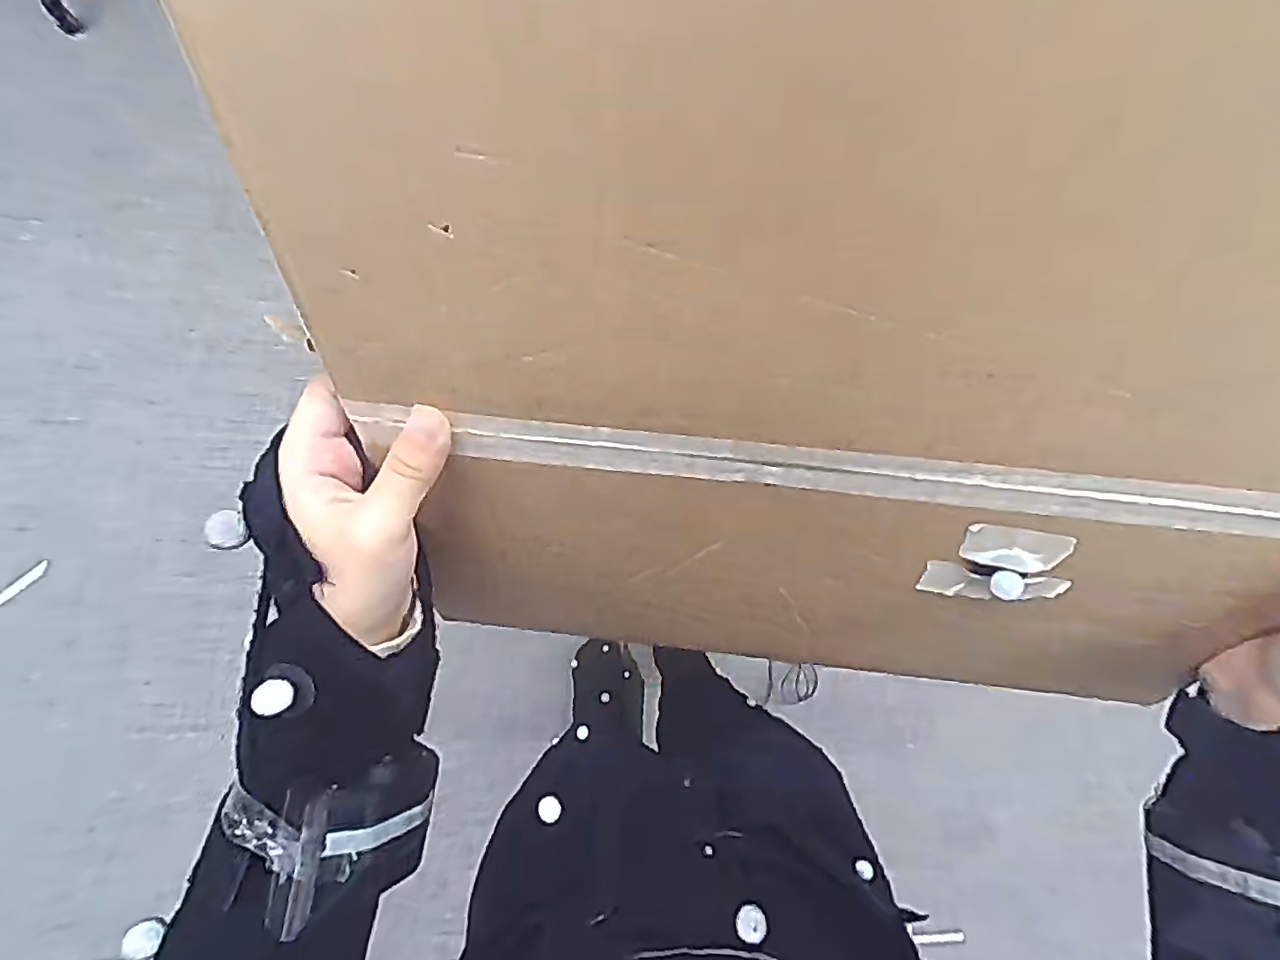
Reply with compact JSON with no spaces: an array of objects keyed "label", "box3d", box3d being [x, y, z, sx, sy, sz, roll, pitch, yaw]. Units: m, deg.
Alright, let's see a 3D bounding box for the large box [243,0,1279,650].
[{"label":"large box","box3d":[0.108,-0.134,0.305,0.408,0.320,0.320,5,46,3]}]
